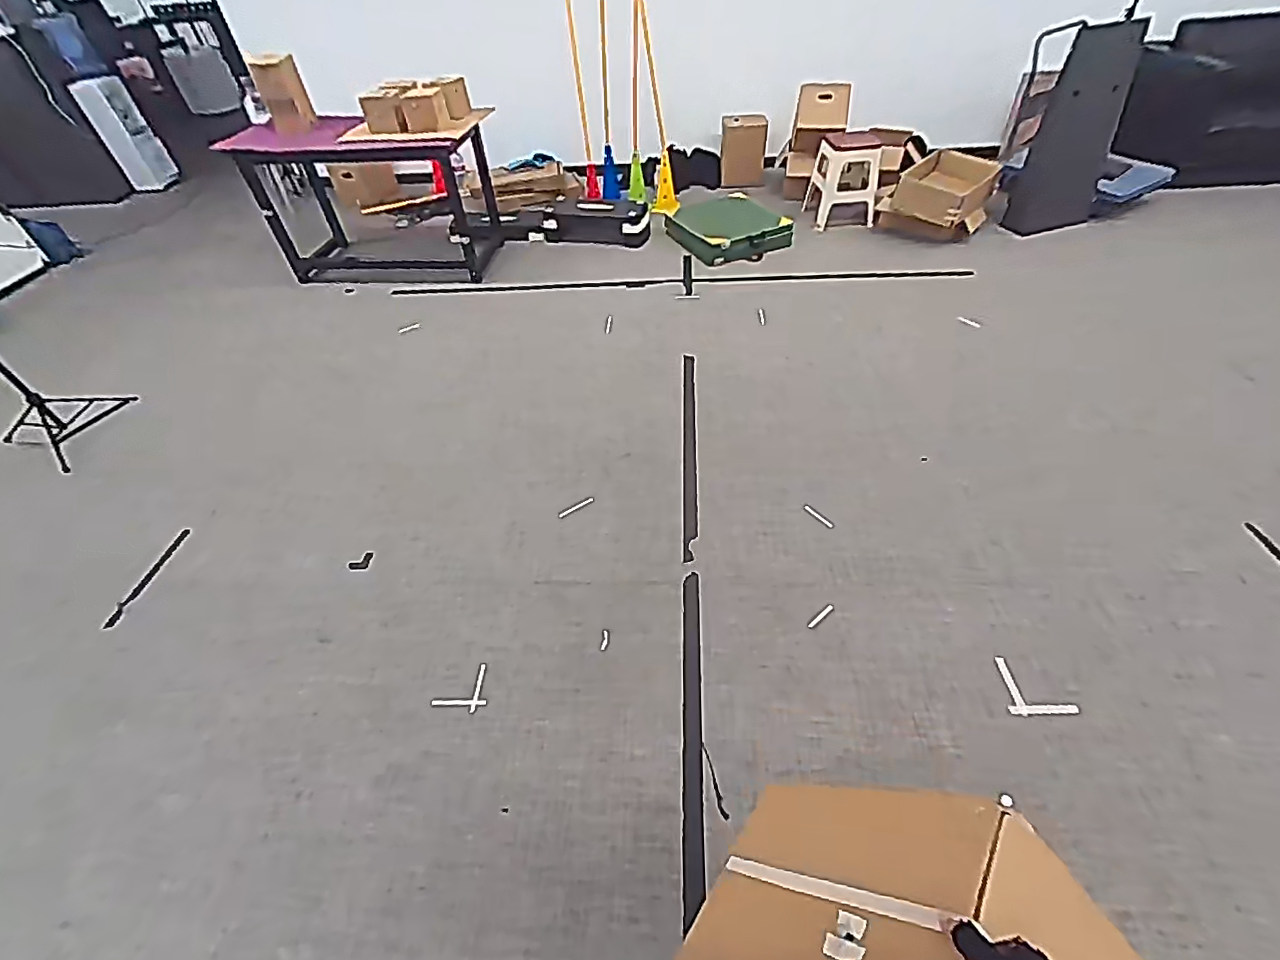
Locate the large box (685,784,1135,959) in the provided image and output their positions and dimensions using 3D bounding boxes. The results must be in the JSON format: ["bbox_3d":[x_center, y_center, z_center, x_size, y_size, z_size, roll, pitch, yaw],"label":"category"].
[{"bbox_3d":[0.339,0.641,0.681,0.320,0.408,0.320,51,54,0],"label":"large box"}]
